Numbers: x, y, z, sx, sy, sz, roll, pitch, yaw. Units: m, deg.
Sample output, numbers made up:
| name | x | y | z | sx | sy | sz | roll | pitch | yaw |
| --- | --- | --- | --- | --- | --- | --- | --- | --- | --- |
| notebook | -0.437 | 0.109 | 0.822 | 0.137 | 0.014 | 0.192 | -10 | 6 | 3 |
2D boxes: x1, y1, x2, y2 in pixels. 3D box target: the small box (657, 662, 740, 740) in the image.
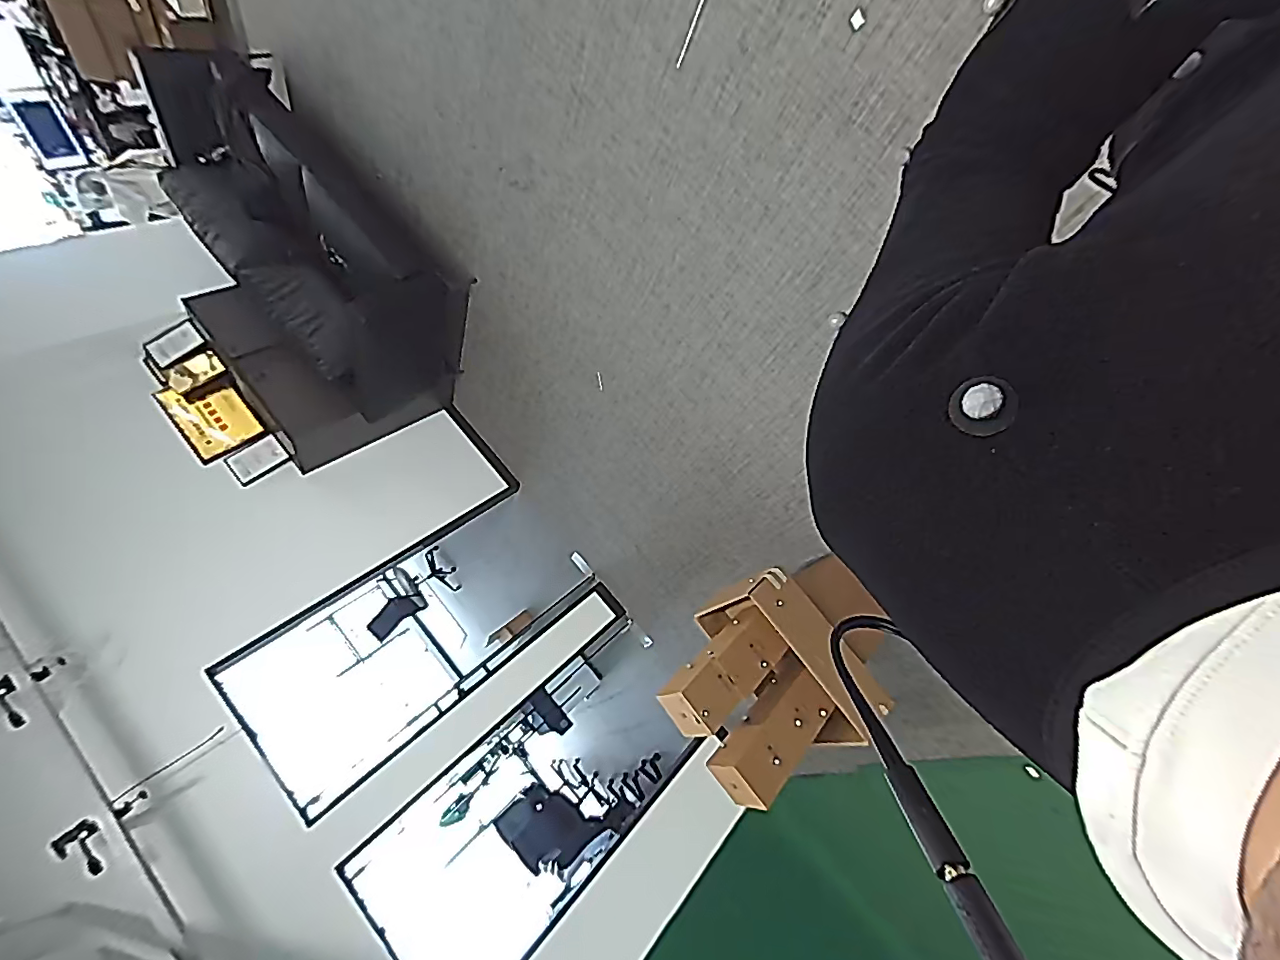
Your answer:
| name | x | y | z | sx | sy | sz | roll | pitch | yaw |
| --- | --- | --- | --- | --- | --- | --- | --- | --- | --- |
| small box | 0.192 | 0.716 | 1.757 | 0.168 | 0.176 | 0.179 | 53 | 145 | 4 |

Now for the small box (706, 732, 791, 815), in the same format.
| name | x | y | z | sx | sy | sz | roll | pitch | yaw |
| --- | --- | --- | --- | --- | --- | --- | --- | --- | --- |
| small box | 0.353 | 0.937 | 1.744 | 0.168 | 0.176 | 0.179 | 51 | 145 | 4 |

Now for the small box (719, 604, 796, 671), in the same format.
| name | x | y | z | sx | sy | sz | roll | pitch | yaw |
| --- | --- | --- | --- | --- | --- | --- | --- | --- | --- |
| small box | 0.424 | 0.569 | 1.938 | 0.168 | 0.176 | 0.179 | 53 | 145 | 4 |

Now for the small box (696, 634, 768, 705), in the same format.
| name | x | y | z | sx | sy | sz | roll | pitch | yaw |
| --- | --- | --- | --- | --- | --- | --- | --- | --- | --- |
| small box | 0.312 | 0.646 | 1.845 | 0.168 | 0.176 | 0.179 | 53 | 146 | 4 |

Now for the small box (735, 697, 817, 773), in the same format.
| name | x | y | z | sx | sy | sz | roll | pitch | yaw |
| --- | --- | --- | --- | --- | --- | --- | --- | --- | --- |
| small box | 0.464 | 0.862 | 1.836 | 0.168 | 0.176 | 0.179 | 51 | 145 | 5 |
